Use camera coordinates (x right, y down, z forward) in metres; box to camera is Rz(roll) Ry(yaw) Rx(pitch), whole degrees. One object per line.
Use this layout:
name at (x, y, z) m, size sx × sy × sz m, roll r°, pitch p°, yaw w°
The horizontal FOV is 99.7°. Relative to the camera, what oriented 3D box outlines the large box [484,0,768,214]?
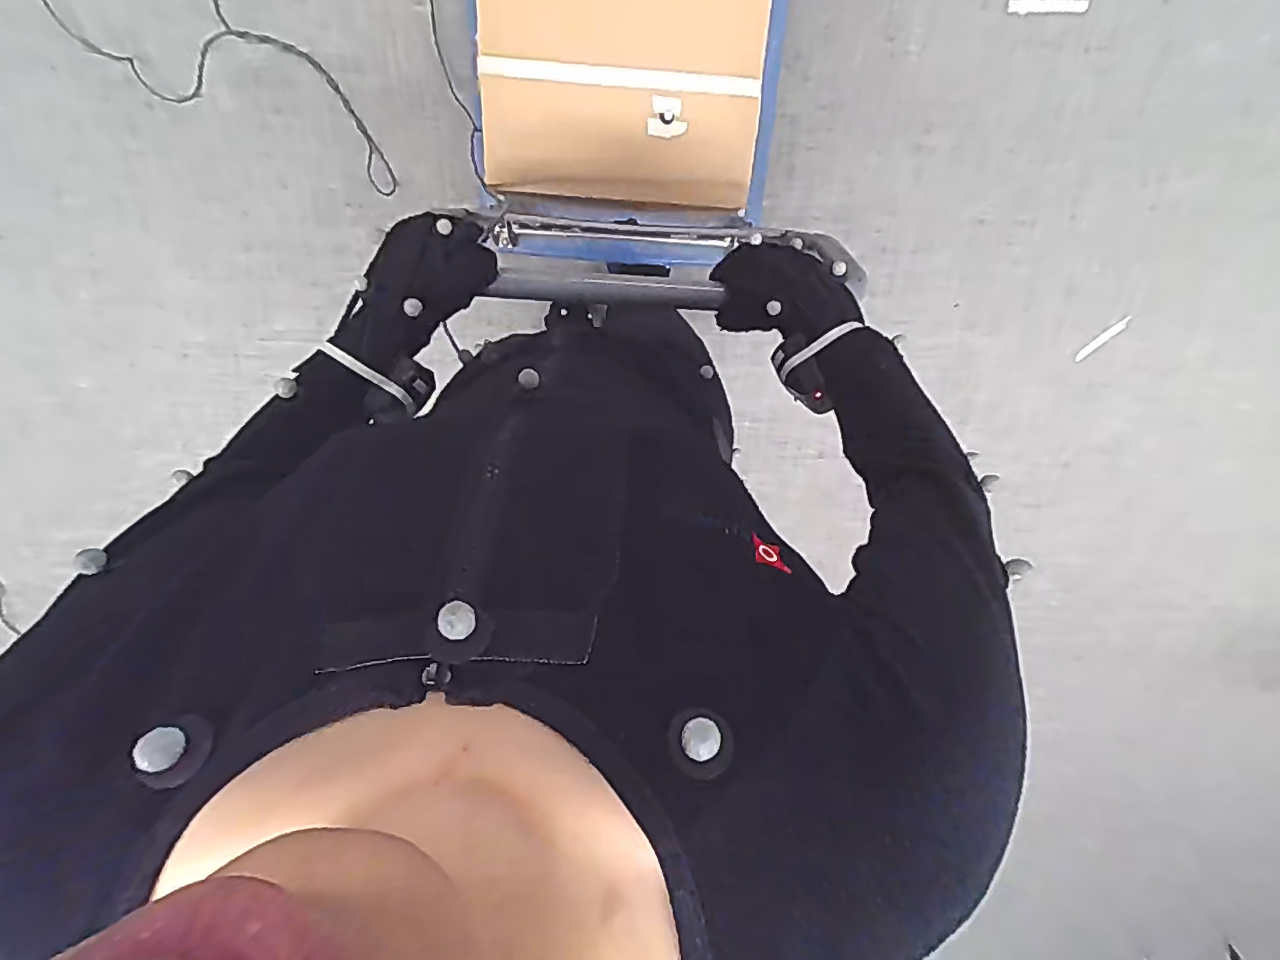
large box at (-0.033, -0.645, 0.926) m, size 0.408 × 0.320 × 0.320 m, roll 1°, pitch 113°, yaw -5°
